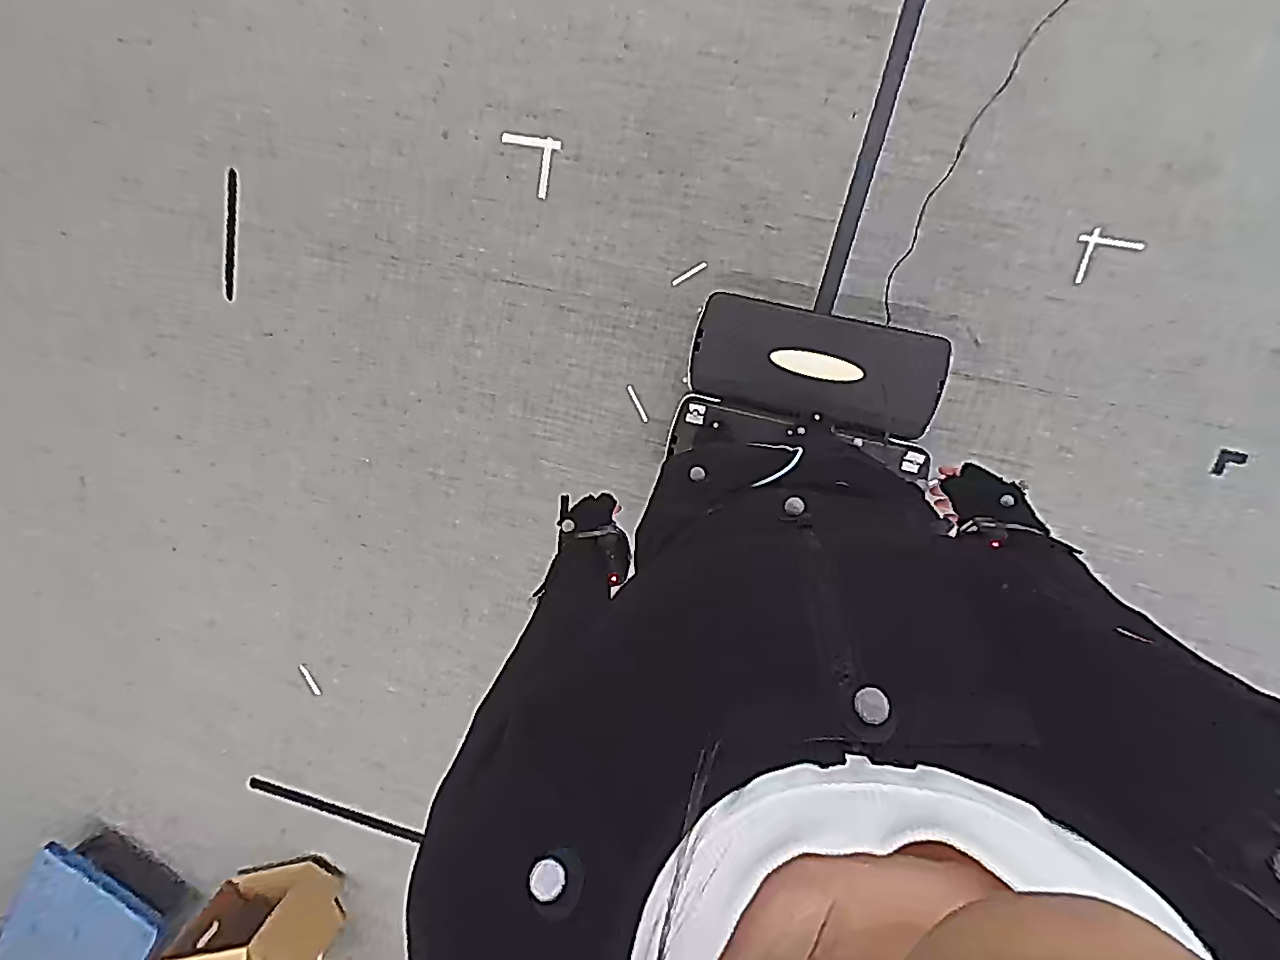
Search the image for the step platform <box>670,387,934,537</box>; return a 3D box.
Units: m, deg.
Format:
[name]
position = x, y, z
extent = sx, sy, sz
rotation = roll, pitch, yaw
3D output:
[step platform]
position = 0.428, -0.055, 1.503
extent = 0.684, 0.204, 0.286
rotation = 13, 101, 7
